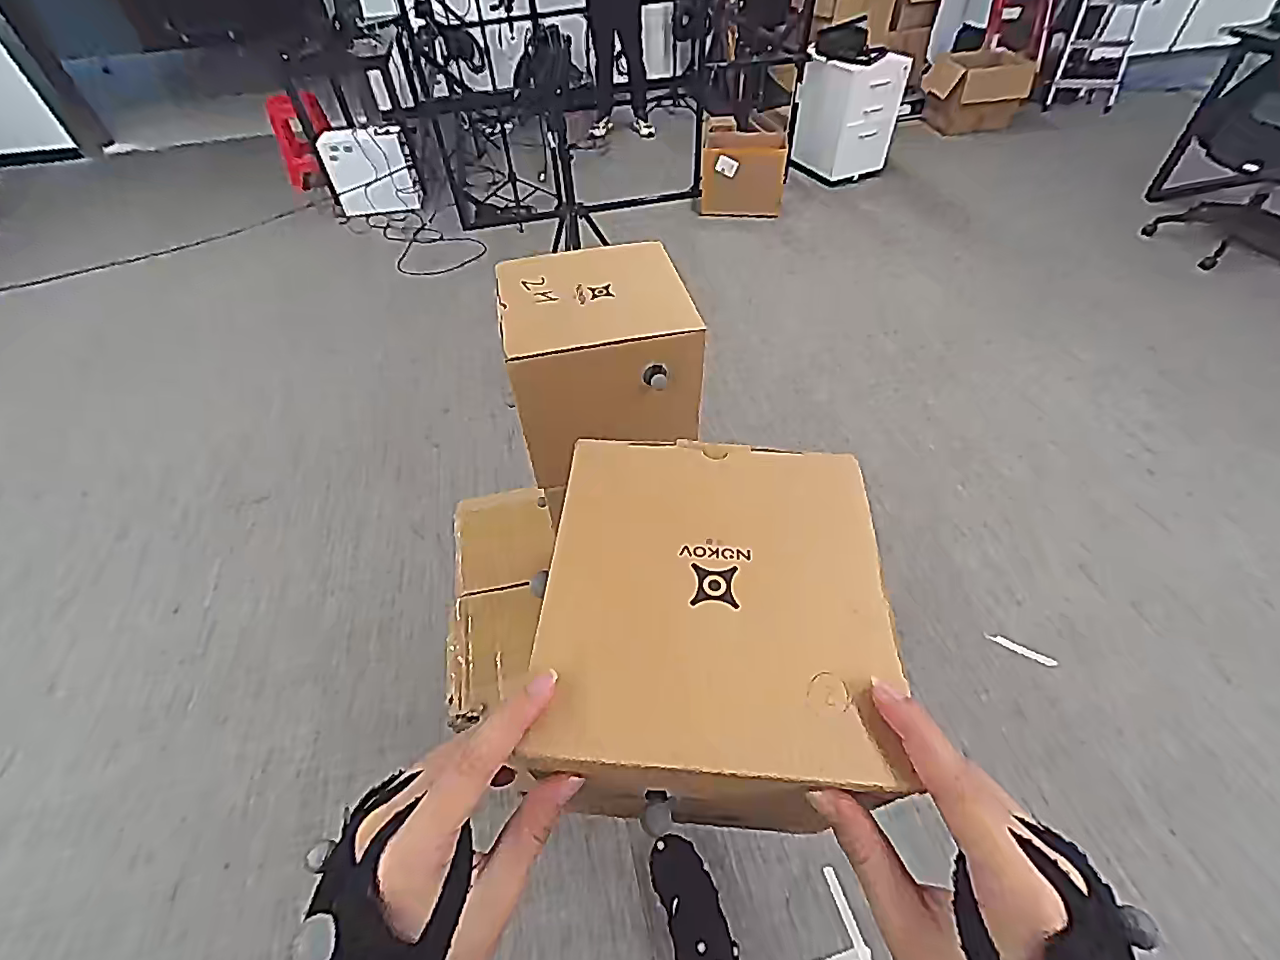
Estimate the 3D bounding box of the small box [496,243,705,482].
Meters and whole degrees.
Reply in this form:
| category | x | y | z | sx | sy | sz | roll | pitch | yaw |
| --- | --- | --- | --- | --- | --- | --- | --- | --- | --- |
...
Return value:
| category | x | y | z | sx | sy | sz | roll | pitch | yaw |
| --- | --- | --- | --- | --- | --- | --- | --- | --- | --- |
| small box | -0.043 | -0.120 | 0.566 | 0.179 | 0.176 | 0.168 | -11 | 49 | -7 |

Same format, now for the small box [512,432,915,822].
| category | x | y | z | sx | sy | sz | roll | pitch | yaw |
| --- | --- | --- | --- | --- | --- | --- | --- | --- | --- |
| small box | 0.037 | 0.093 | 0.329 | 0.168 | 0.176 | 0.179 | 3 | 50 | 4 |
